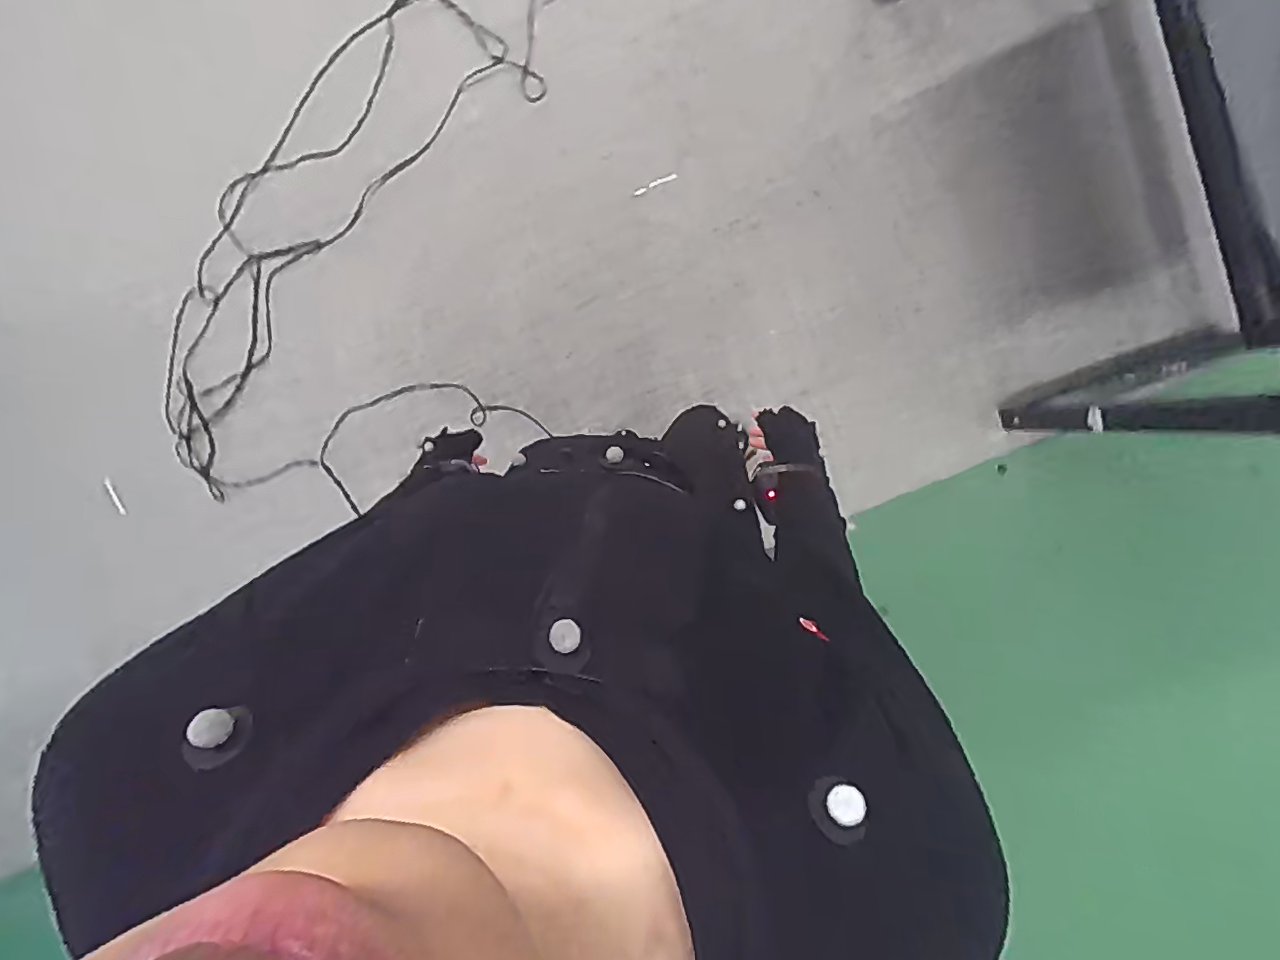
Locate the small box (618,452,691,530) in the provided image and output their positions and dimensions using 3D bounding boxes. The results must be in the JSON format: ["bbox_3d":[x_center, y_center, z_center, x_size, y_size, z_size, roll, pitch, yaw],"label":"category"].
[{"bbox_3d":[0.033,0.026,1.416,0.168,0.176,0.179,0,100,-7],"label":"small box"}]
